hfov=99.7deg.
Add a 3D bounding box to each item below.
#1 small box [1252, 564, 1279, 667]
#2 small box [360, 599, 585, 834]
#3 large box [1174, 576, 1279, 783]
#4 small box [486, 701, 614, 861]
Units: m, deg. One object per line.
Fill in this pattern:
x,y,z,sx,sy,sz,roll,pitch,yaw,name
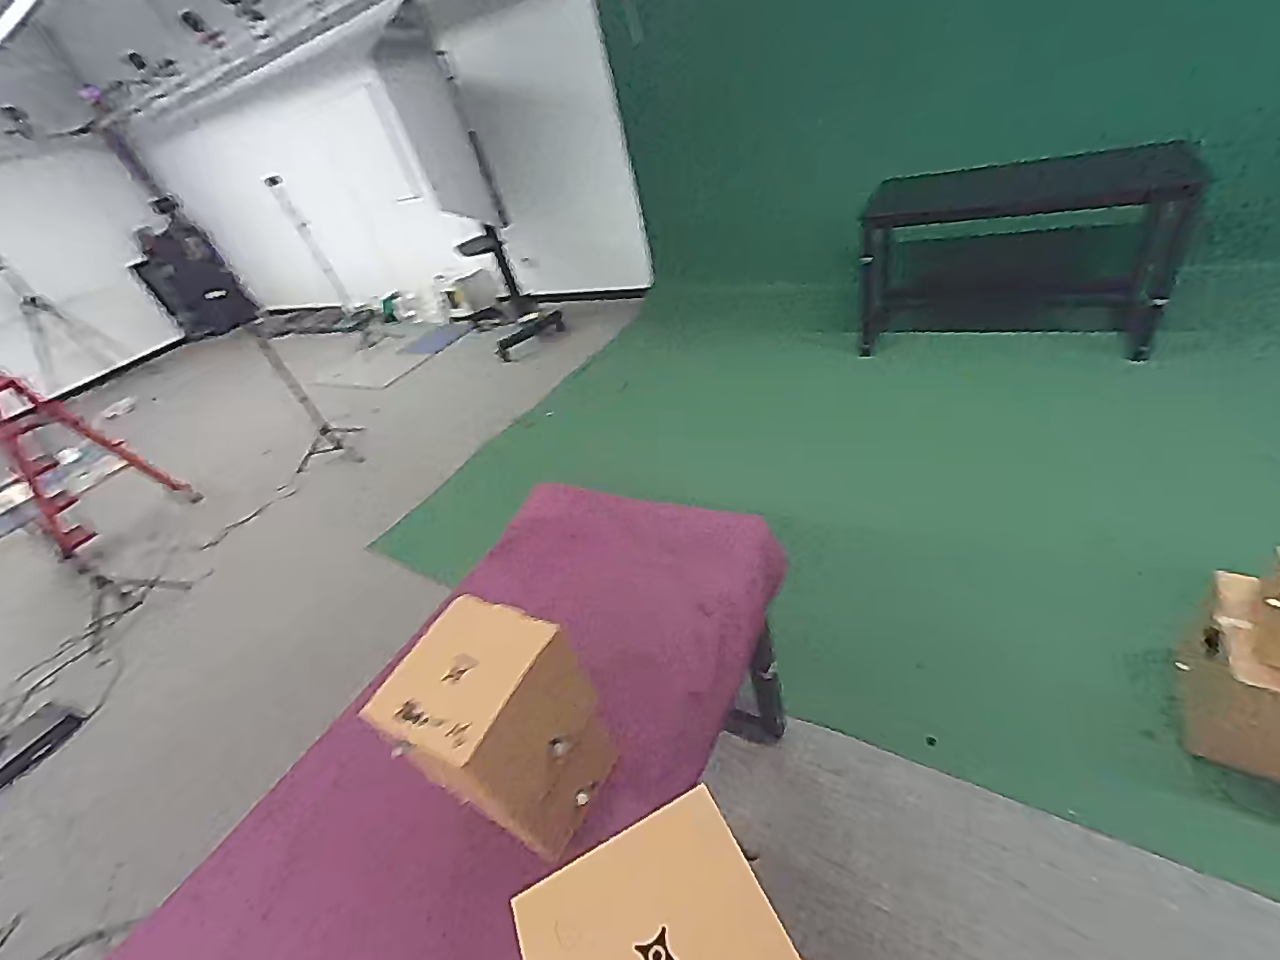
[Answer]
1.334,0.265,1.039,0.168,0.176,0.179,13,46,34,small box
-0.185,0.279,0.657,0.168,0.176,0.179,7,42,30,small box
1.465,0.458,1.145,0.408,0.320,0.320,11,45,32,large box
-0.165,0.398,0.771,0.179,0.176,0.168,10,44,33,small box
